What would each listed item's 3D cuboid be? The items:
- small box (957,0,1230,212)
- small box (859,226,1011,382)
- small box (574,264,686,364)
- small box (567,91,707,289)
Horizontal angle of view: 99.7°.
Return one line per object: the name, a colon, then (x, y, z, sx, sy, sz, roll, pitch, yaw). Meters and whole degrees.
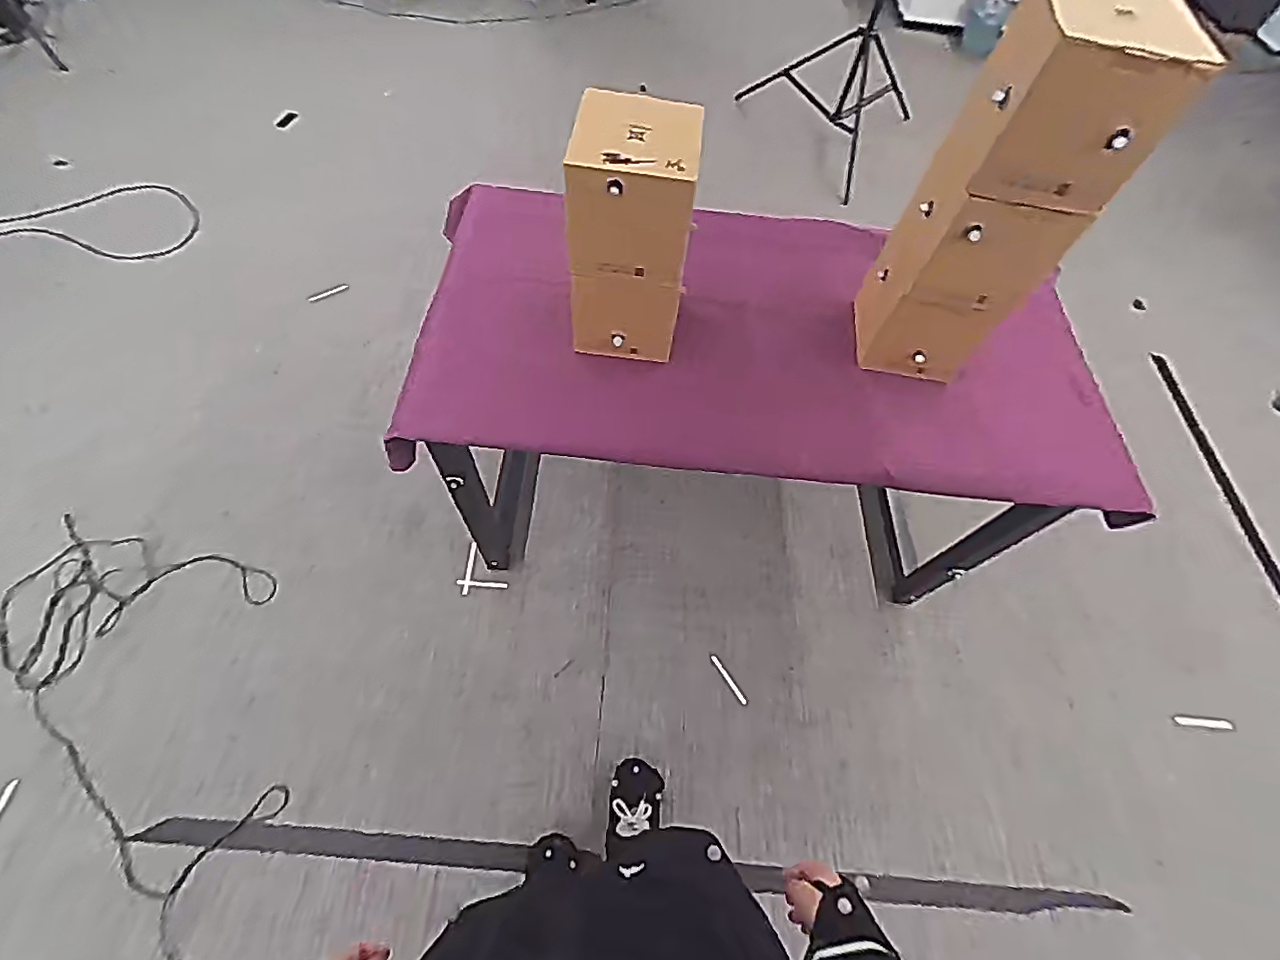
small box: (0.509, -0.451, 0.642, 0.168, 0.176, 0.179, 12, 60, 1)
small box: (0.491, -0.299, 0.930, 0.168, 0.176, 0.179, 10, 61, 2)
small box: (-0.015, -0.323, 0.903, 0.168, 0.176, 0.179, 7, 62, -1)
small box: (-0.005, -0.401, 0.760, 0.168, 0.176, 0.179, 7, 60, 0)
